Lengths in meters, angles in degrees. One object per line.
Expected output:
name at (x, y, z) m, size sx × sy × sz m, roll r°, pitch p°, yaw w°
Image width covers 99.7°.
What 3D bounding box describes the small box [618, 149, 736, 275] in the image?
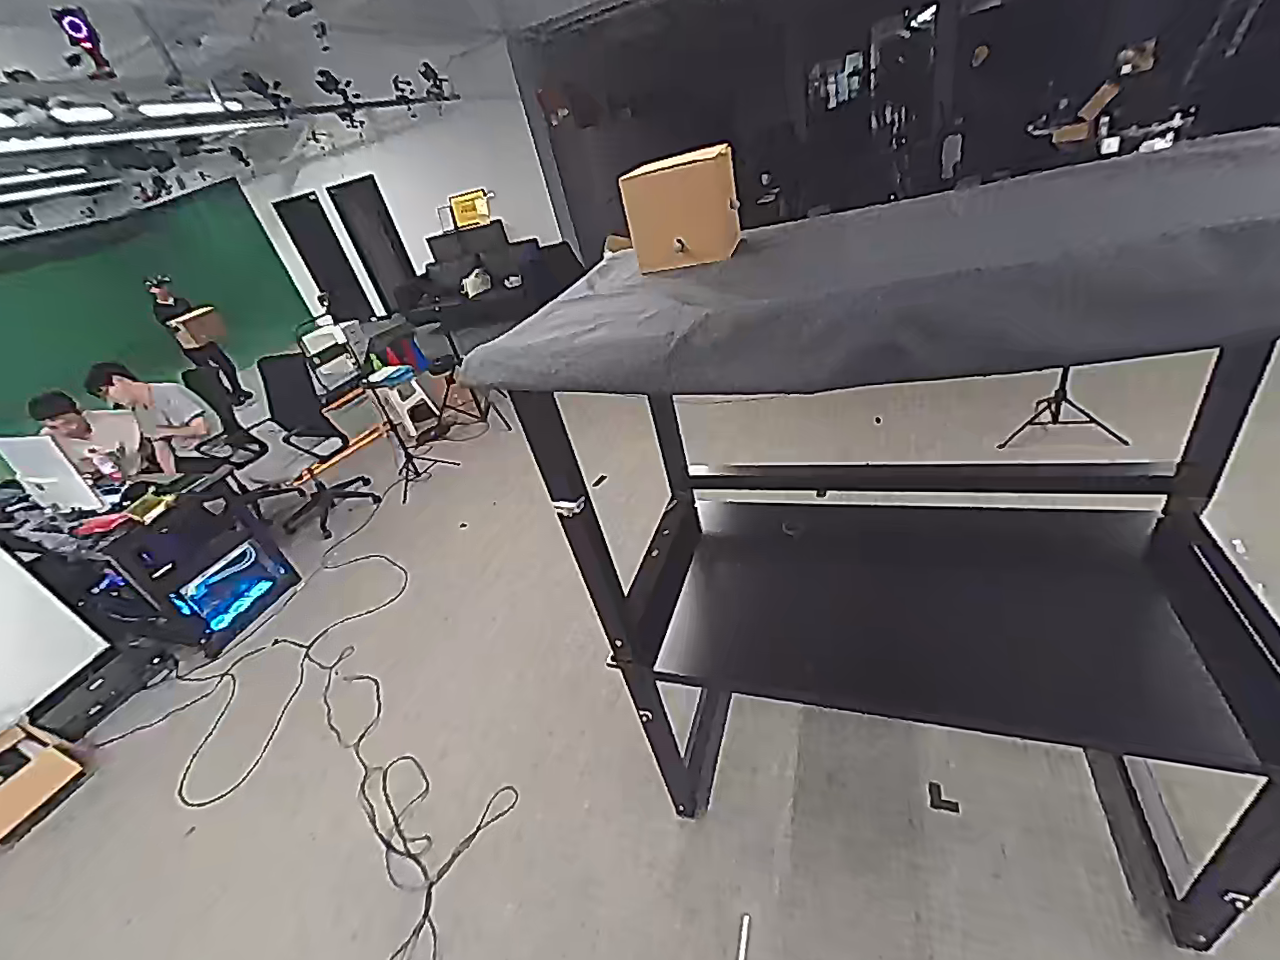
small box at (0.080, -0.502, 1.019) m, size 0.179 × 0.176 × 0.168 m, roll -1°, pitch 35°, yaw 21°
